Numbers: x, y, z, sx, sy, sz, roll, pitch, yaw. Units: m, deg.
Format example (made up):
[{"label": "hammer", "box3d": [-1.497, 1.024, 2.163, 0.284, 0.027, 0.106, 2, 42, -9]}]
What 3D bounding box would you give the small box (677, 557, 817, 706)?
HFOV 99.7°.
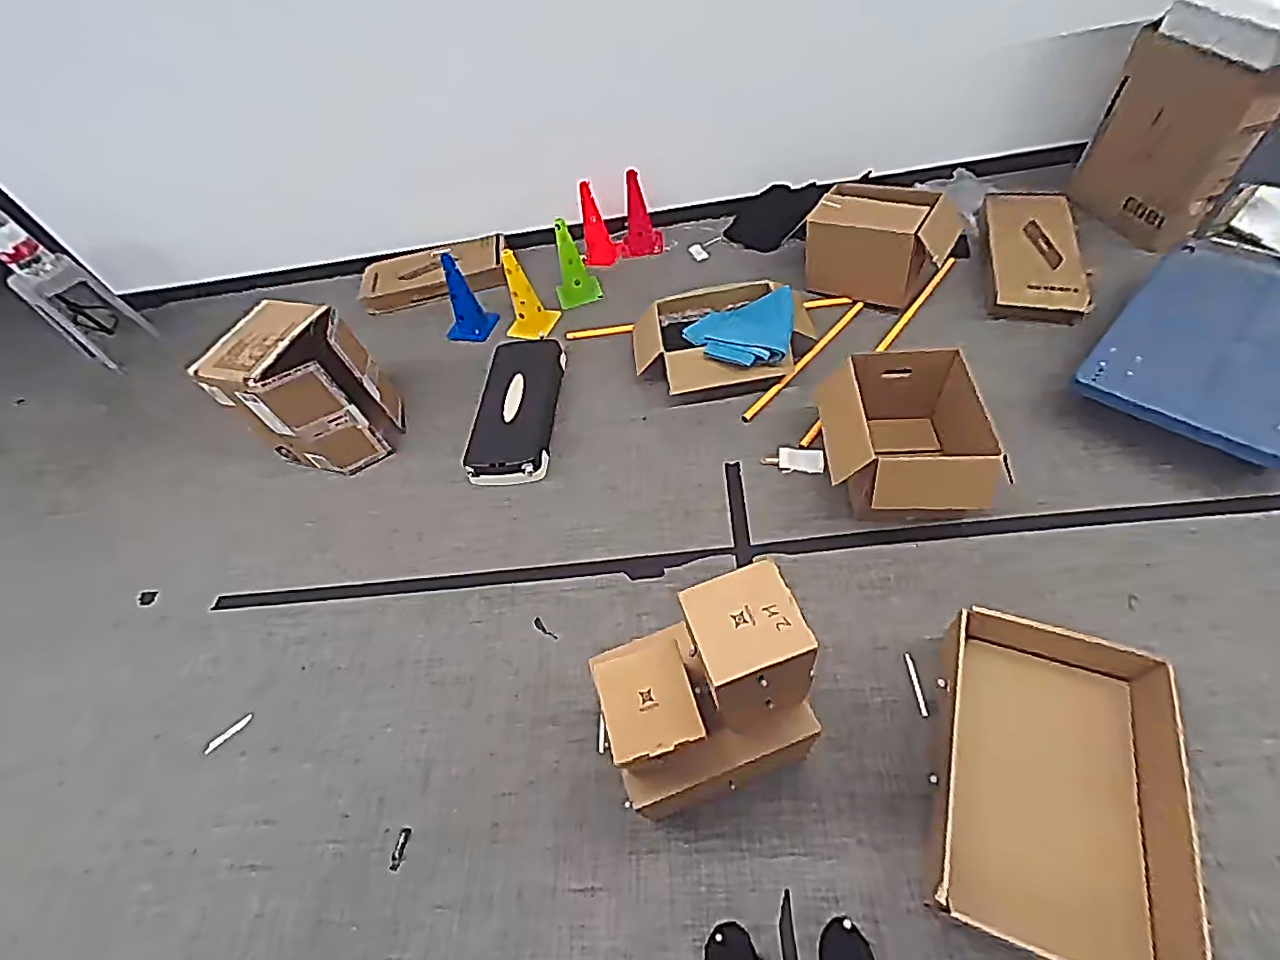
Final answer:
[{"label": "small box", "box3d": [0.179, 0.265, 0.924, 0.179, 0.176, 0.168, -20, 54, -3]}]
